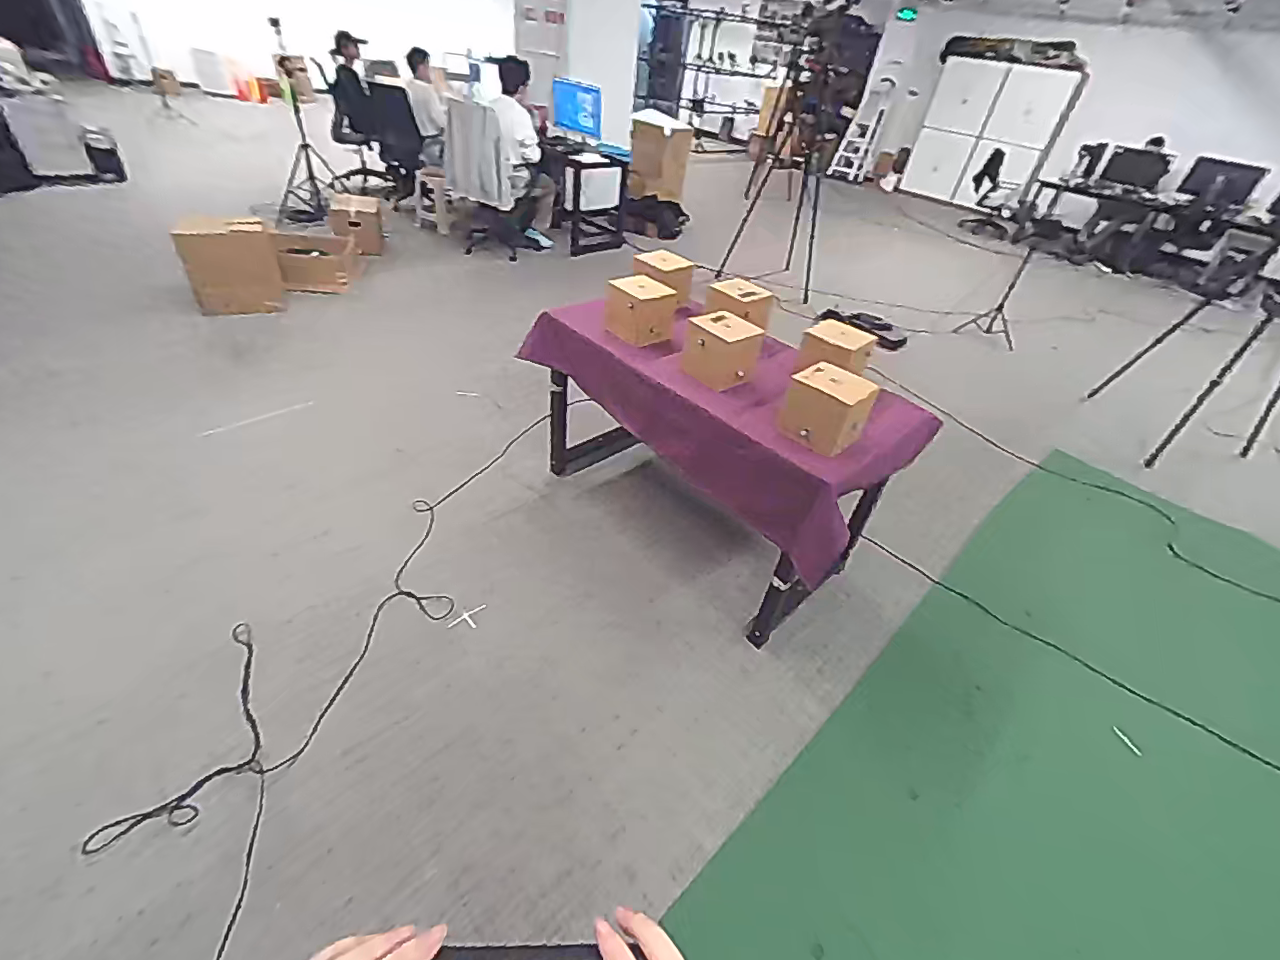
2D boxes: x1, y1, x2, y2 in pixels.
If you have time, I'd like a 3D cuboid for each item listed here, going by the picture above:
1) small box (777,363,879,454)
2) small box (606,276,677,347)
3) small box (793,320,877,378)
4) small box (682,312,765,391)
[{"bbox_3d":[0.501,-0.189,1.457,0.168,0.176,0.179,-27,51,-37],"label":"small box"},{"bbox_3d":[-0.001,-0.575,1.845,0.168,0.176,0.179,-25,51,-35],"label":"small box"},{"bbox_3d":[0.612,-0.385,1.719,0.168,0.176,0.179,35,46,30],"label":"small box"},{"bbox_3d":[0.250,-0.398,1.671,0.168,0.176,0.179,-24,50,-34],"label":"small box"}]
